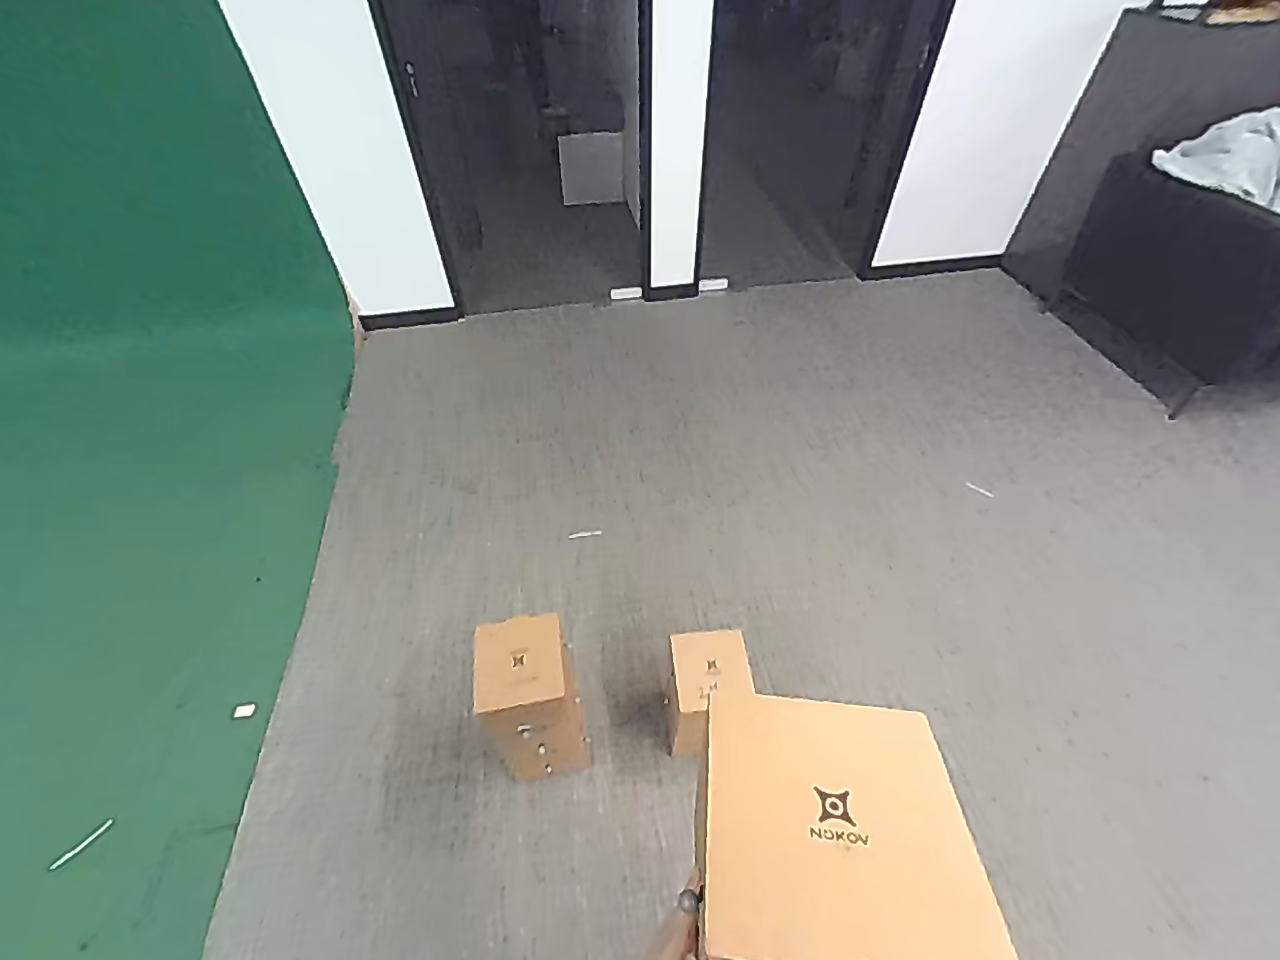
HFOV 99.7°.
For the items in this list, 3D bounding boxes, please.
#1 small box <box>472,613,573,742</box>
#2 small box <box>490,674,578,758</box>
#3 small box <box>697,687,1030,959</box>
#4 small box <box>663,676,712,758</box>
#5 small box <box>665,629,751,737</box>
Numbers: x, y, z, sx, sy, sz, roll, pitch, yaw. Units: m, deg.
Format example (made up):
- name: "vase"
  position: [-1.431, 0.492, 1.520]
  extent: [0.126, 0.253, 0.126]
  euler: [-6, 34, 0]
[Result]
- name: "small box"
  position: [-0.230, 0.392, 1.074]
  extent: [0.168, 0.176, 0.179]
  euler: [-10, 50, -6]
- name: "small box"
  position: [-0.234, 0.498, 1.198]
  extent: [0.168, 0.176, 0.179]
  euler: [-9, 49, -8]
- name: "small box"
  position: [0.129, 0.282, 0.388]
  extent: [0.168, 0.176, 0.179]
  euler: [4, 30, 5]
- name: "small box"
  position: [0.146, 0.575, 1.352]
  extent: [0.168, 0.176, 0.179]
  euler: [-2, 49, -2]
- name: "small box"
  position: [0.149, 0.463, 1.231]
  extent: [0.168, 0.176, 0.179]
  euler: [-4, 49, -3]
